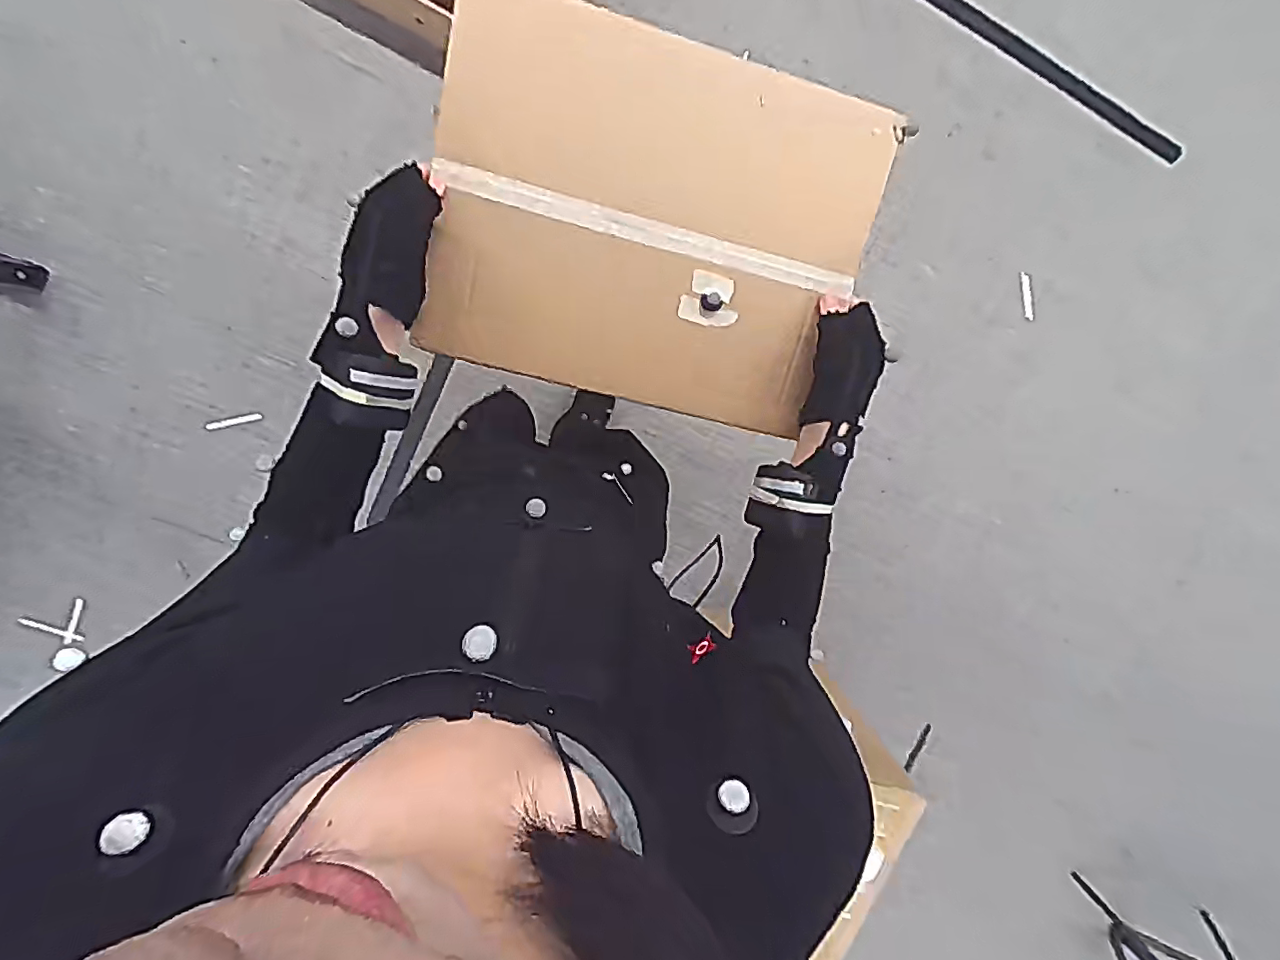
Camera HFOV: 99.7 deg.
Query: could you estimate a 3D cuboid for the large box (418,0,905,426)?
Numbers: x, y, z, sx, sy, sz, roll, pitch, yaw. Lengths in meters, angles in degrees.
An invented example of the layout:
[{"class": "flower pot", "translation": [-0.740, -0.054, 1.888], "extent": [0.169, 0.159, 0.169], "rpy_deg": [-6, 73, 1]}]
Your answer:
[{"class": "large box", "translation": [0.001, -0.273, 0.637], "extent": [0.408, 0.320, 0.320], "rpy_deg": [12, 105, -9]}]
